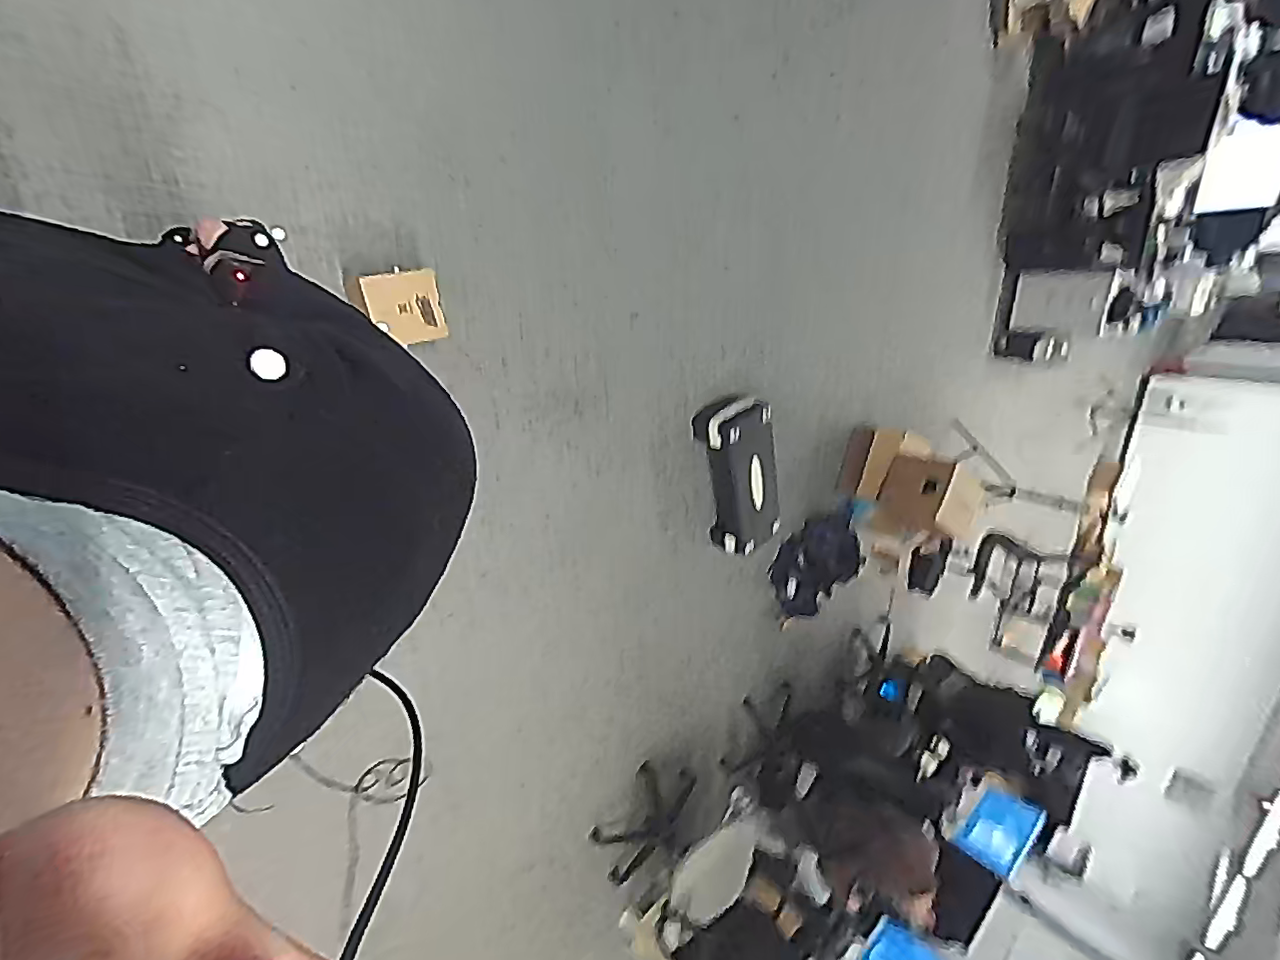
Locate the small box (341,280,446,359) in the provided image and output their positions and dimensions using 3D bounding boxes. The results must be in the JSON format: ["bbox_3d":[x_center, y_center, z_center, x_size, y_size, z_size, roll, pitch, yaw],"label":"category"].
[{"bbox_3d":[-0.624,-0.411,1.369,0.179,0.176,0.168,-24,118,-33],"label":"small box"}]
